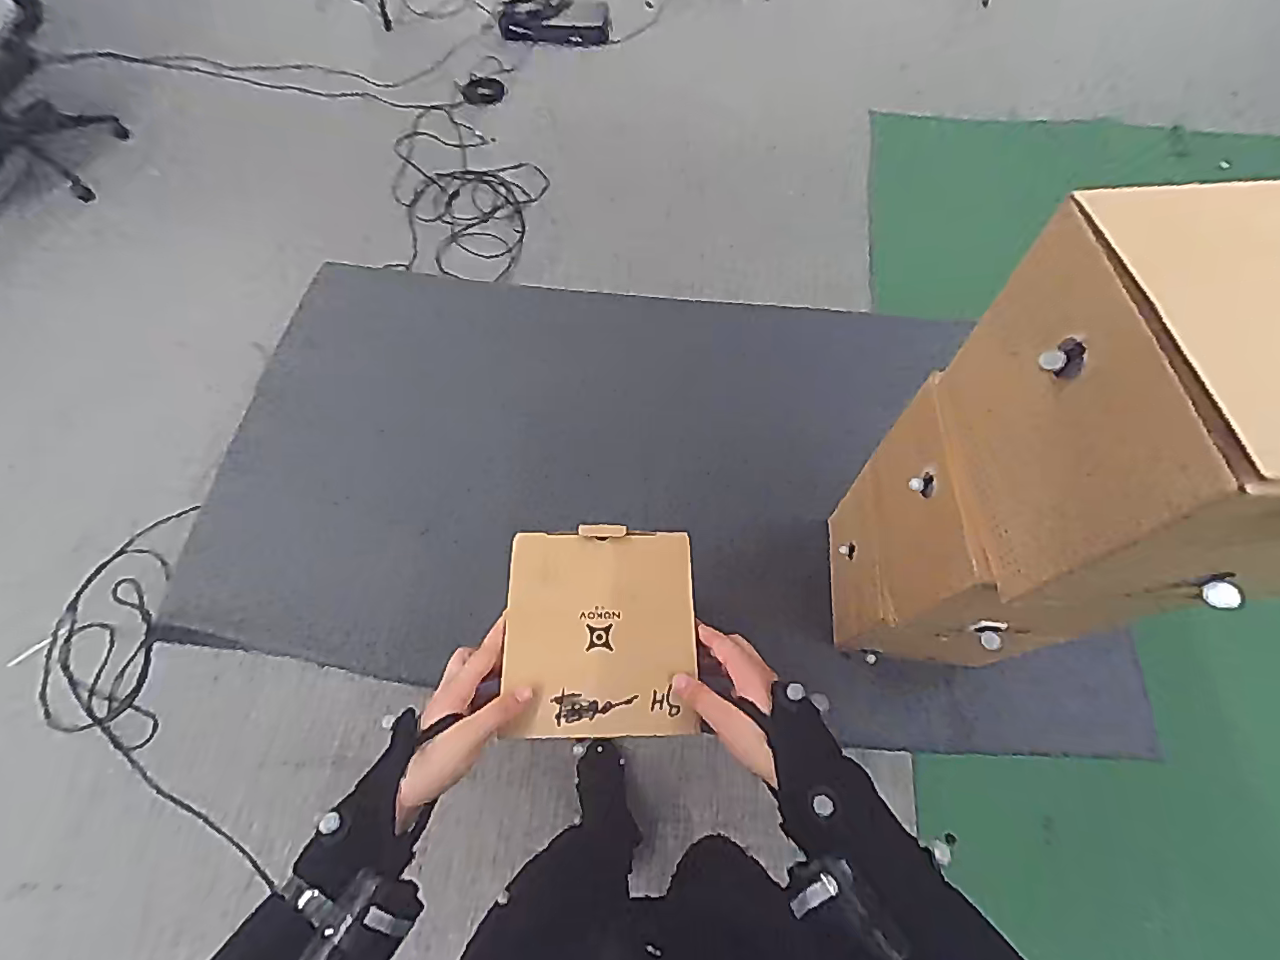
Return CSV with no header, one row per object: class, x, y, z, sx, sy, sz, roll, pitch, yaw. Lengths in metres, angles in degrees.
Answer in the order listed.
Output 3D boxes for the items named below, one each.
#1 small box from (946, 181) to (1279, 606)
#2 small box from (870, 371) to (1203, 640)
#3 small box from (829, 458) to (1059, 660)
small box,0.305,-0.037,0.304,0.168,0.176,0.179,-2,64,3
small box,0.311,0.028,0.457,0.168,0.176,0.179,1,65,4
small box,0.318,0.095,0.604,0.168,0.176,0.179,5,63,5
